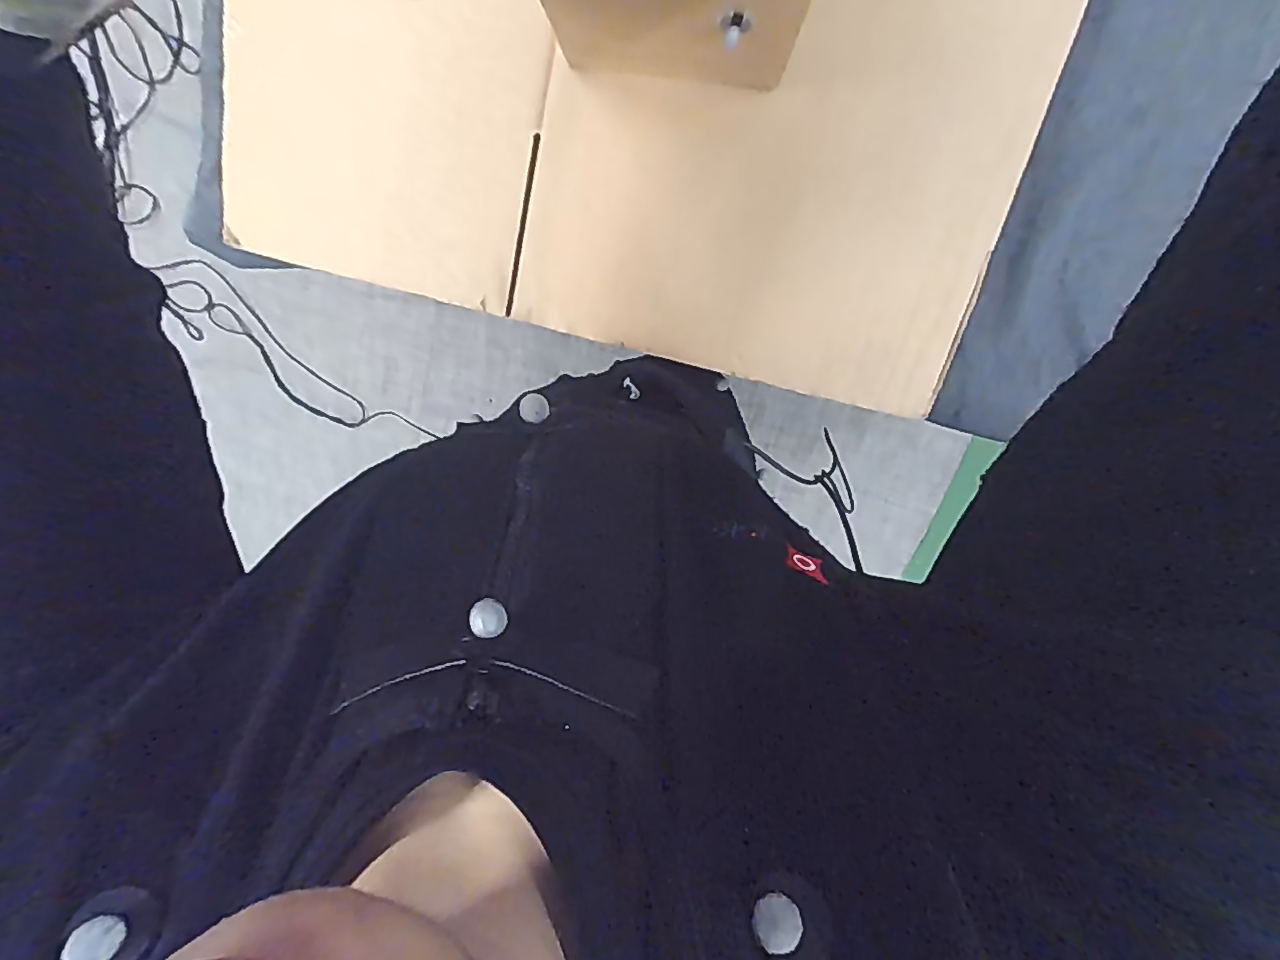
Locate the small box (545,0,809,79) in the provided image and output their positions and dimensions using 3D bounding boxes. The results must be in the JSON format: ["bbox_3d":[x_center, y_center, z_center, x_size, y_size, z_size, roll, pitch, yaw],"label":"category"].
[{"bbox_3d":[0.031,-0.381,0.333,0.179,0.176,0.168,8,105,3],"label":"small box"}]
